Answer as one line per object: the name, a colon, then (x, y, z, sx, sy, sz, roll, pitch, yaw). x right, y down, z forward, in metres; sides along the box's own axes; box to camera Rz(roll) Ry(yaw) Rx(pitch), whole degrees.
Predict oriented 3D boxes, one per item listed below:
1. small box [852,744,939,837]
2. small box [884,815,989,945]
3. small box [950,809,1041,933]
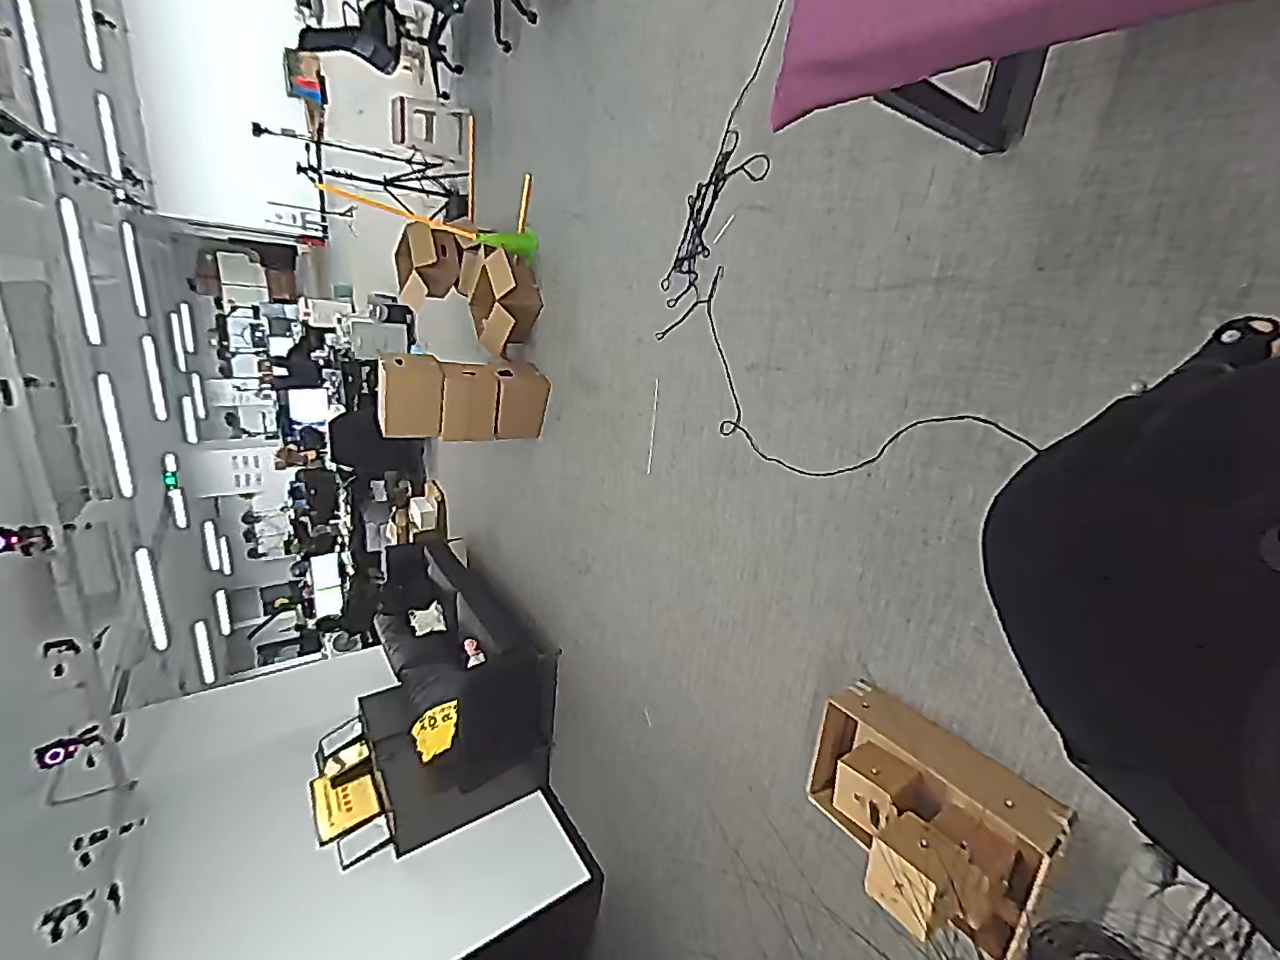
small box: (0.774, 0.939, 1.638, 0.179, 0.176, 0.168, 17, 109, 54)
small box: (0.758, 1.006, 1.379, 0.168, 0.176, 0.179, 21, 112, 56)
small box: (0.919, 1.022, 1.433, 0.179, 0.176, 0.168, 24, 114, 55)
